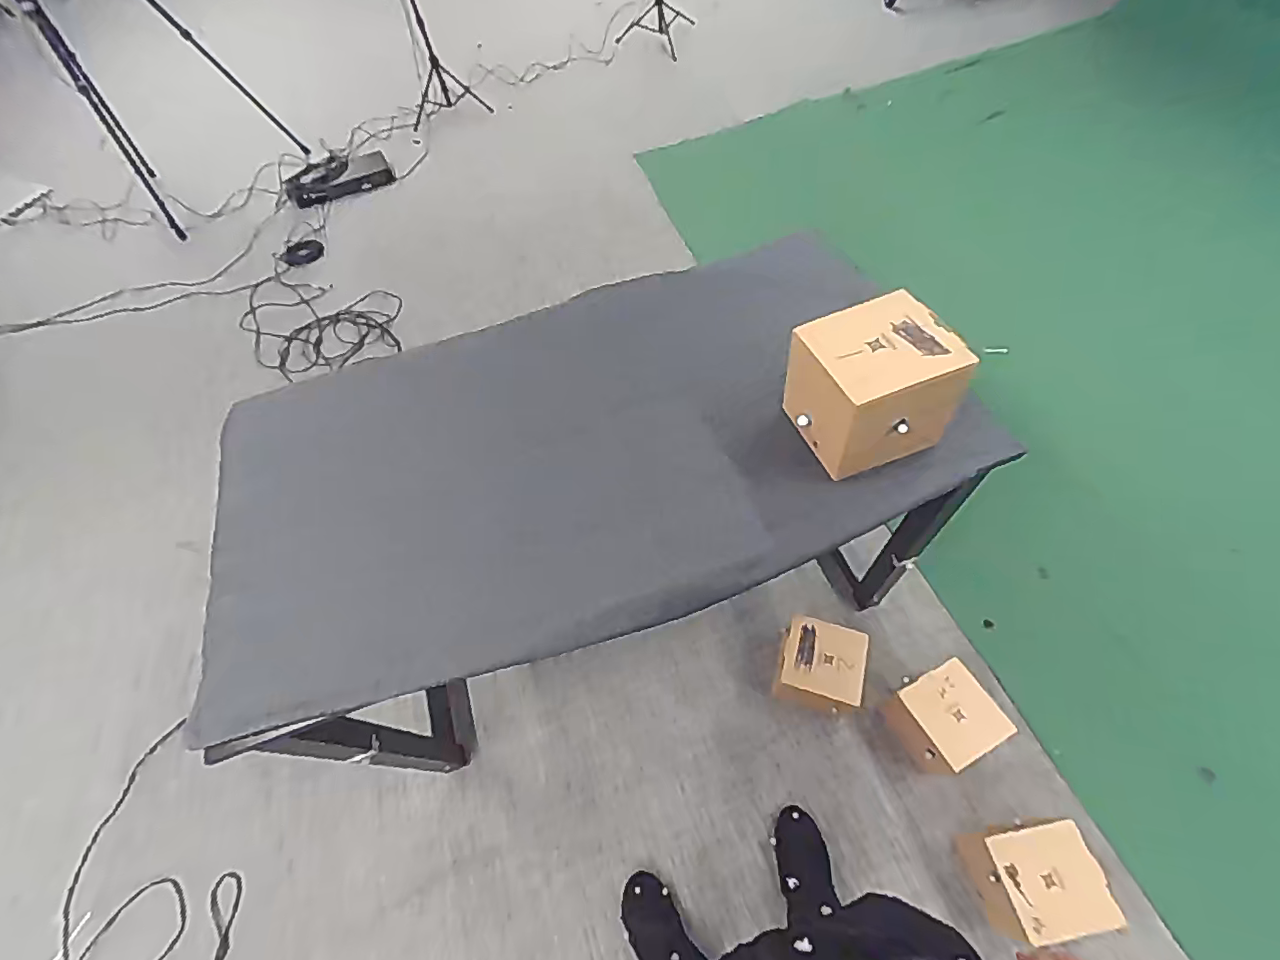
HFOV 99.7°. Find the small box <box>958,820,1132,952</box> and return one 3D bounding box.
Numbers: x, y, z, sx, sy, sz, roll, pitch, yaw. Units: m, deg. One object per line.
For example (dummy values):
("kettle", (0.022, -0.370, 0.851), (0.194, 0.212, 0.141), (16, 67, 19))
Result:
("small box", (0.762, 0.768, 1.041), (0.179, 0.176, 0.168), (-12, 59, 0))

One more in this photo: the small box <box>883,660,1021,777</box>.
("small box", (0.676, 0.530, 1.196), (0.168, 0.176, 0.179), (-27, 59, -9))

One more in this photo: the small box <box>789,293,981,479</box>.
("small box", (0.331, -0.130, 0.776), (0.179, 0.176, 0.168), (-20, 55, -3))
